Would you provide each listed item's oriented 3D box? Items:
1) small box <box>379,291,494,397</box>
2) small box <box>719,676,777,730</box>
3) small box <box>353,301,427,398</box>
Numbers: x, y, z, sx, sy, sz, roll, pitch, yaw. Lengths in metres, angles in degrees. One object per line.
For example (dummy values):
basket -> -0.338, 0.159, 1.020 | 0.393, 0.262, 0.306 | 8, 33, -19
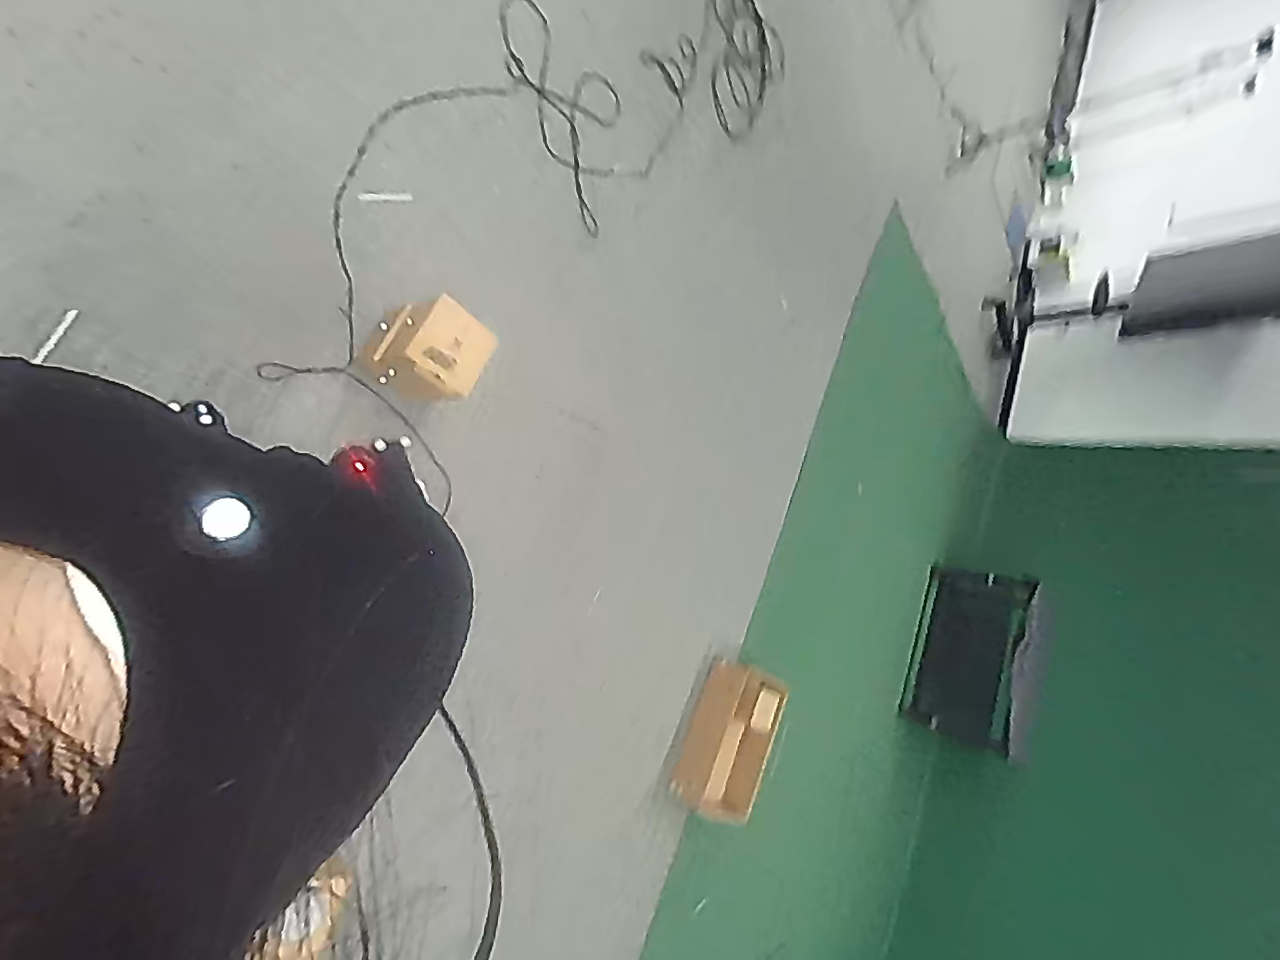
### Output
small box -> -0.484, -0.310, 1.275 | 0.168, 0.176, 0.179 | 39, 66, -39
small box -> 0.492, 1.017, 2.474 | 0.179, 0.176, 0.168 | 34, 70, -39
small box -> -0.606, -0.325, 1.386 | 0.168, 0.176, 0.179 | 38, 67, -39
